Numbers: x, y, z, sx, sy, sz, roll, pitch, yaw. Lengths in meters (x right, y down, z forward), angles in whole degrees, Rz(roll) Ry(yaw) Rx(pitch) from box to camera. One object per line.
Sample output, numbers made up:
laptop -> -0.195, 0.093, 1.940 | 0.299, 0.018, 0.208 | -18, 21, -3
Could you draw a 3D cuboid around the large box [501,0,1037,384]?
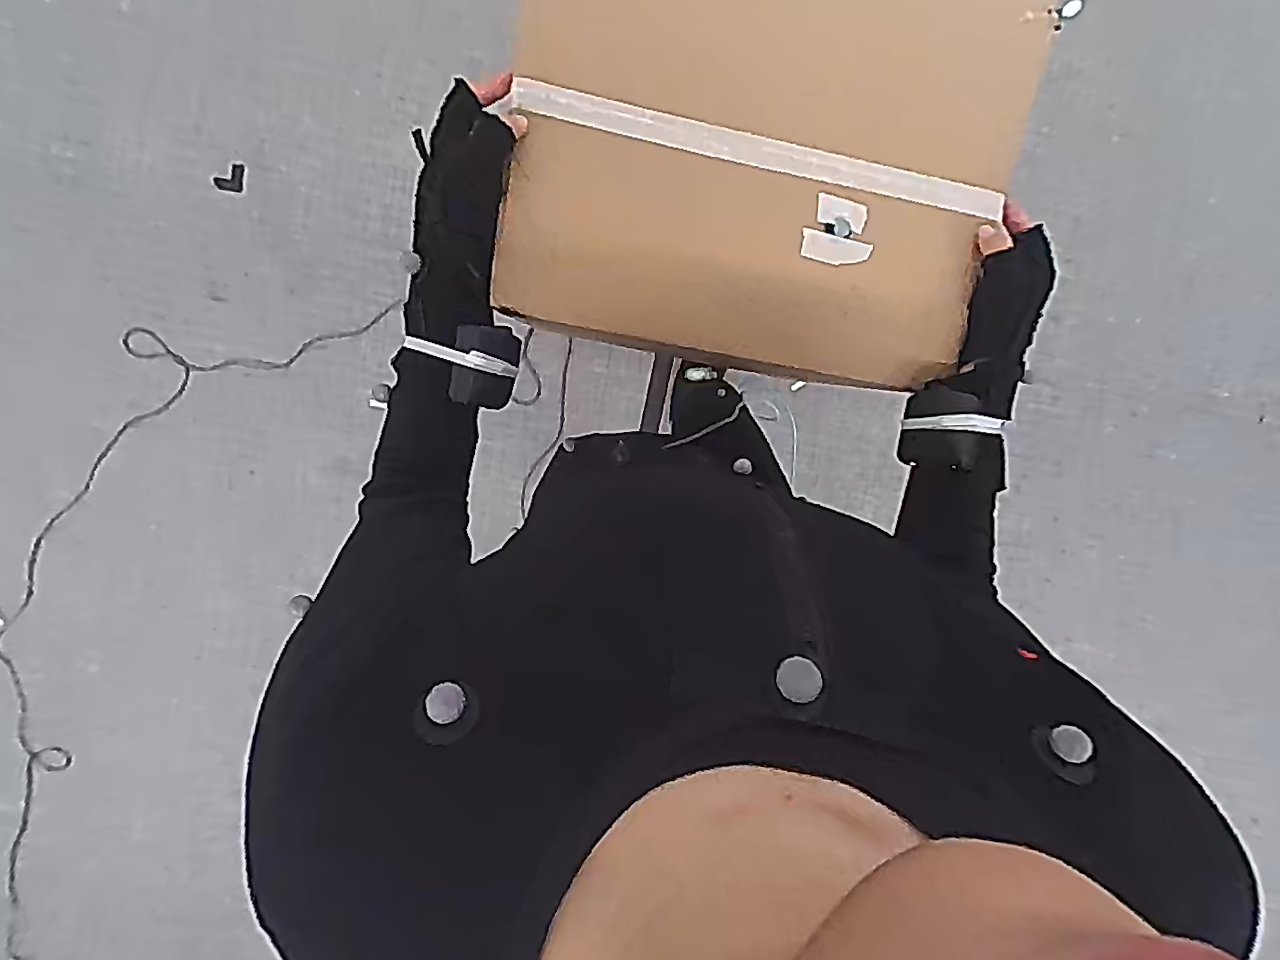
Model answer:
large box -> 0.087, -0.296, 0.585 | 0.408, 0.320, 0.320 | 9, 103, -8
